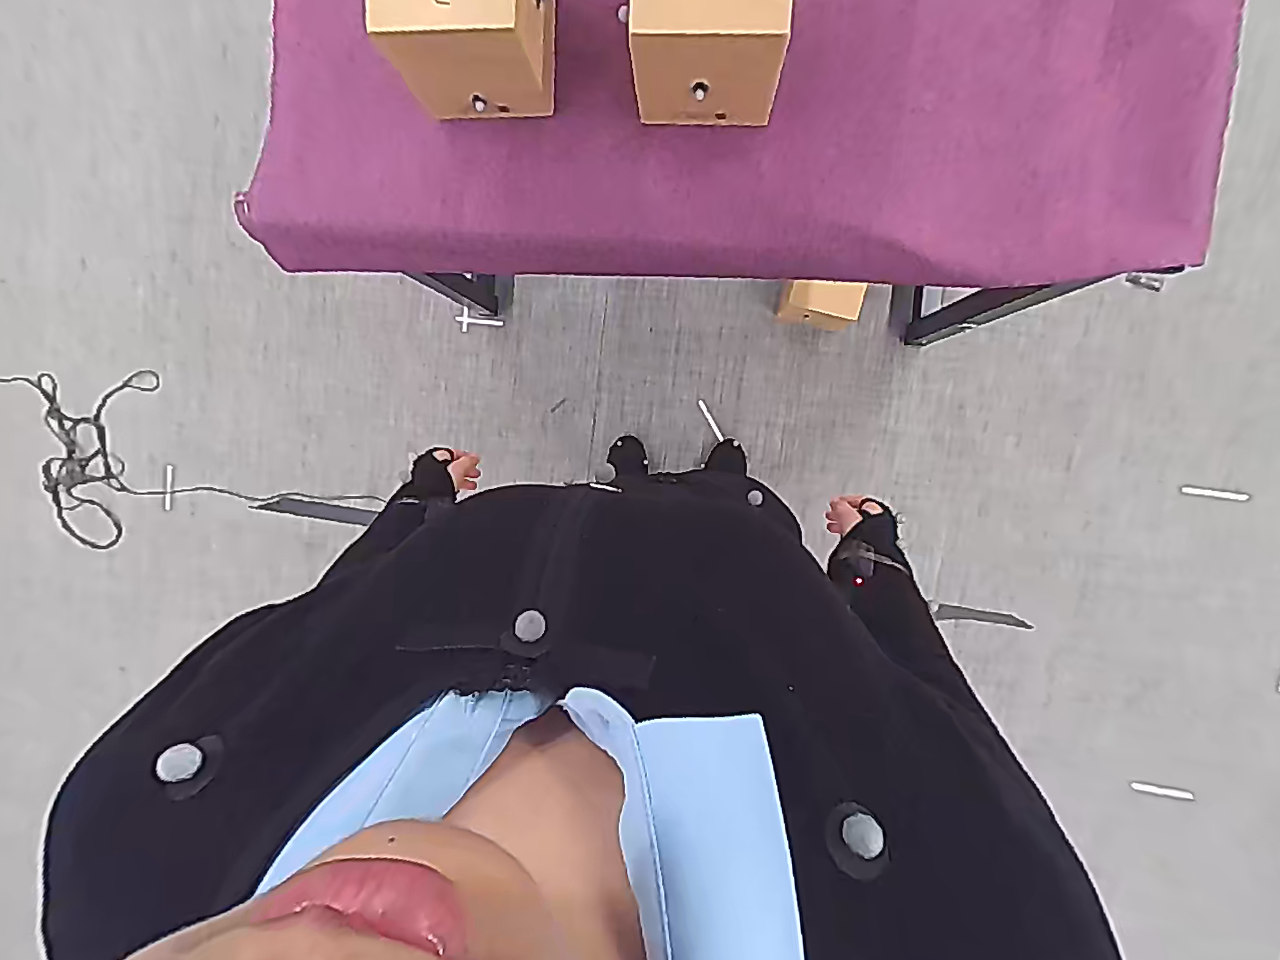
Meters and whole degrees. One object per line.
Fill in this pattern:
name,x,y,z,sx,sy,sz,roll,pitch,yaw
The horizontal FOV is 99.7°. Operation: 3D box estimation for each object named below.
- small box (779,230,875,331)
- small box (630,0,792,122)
small box,0.450,-0.482,1.332,0.168,0.176,0.179,15,96,4
small box,0.084,-0.546,0.622,0.168,0.176,0.179,5,95,4
